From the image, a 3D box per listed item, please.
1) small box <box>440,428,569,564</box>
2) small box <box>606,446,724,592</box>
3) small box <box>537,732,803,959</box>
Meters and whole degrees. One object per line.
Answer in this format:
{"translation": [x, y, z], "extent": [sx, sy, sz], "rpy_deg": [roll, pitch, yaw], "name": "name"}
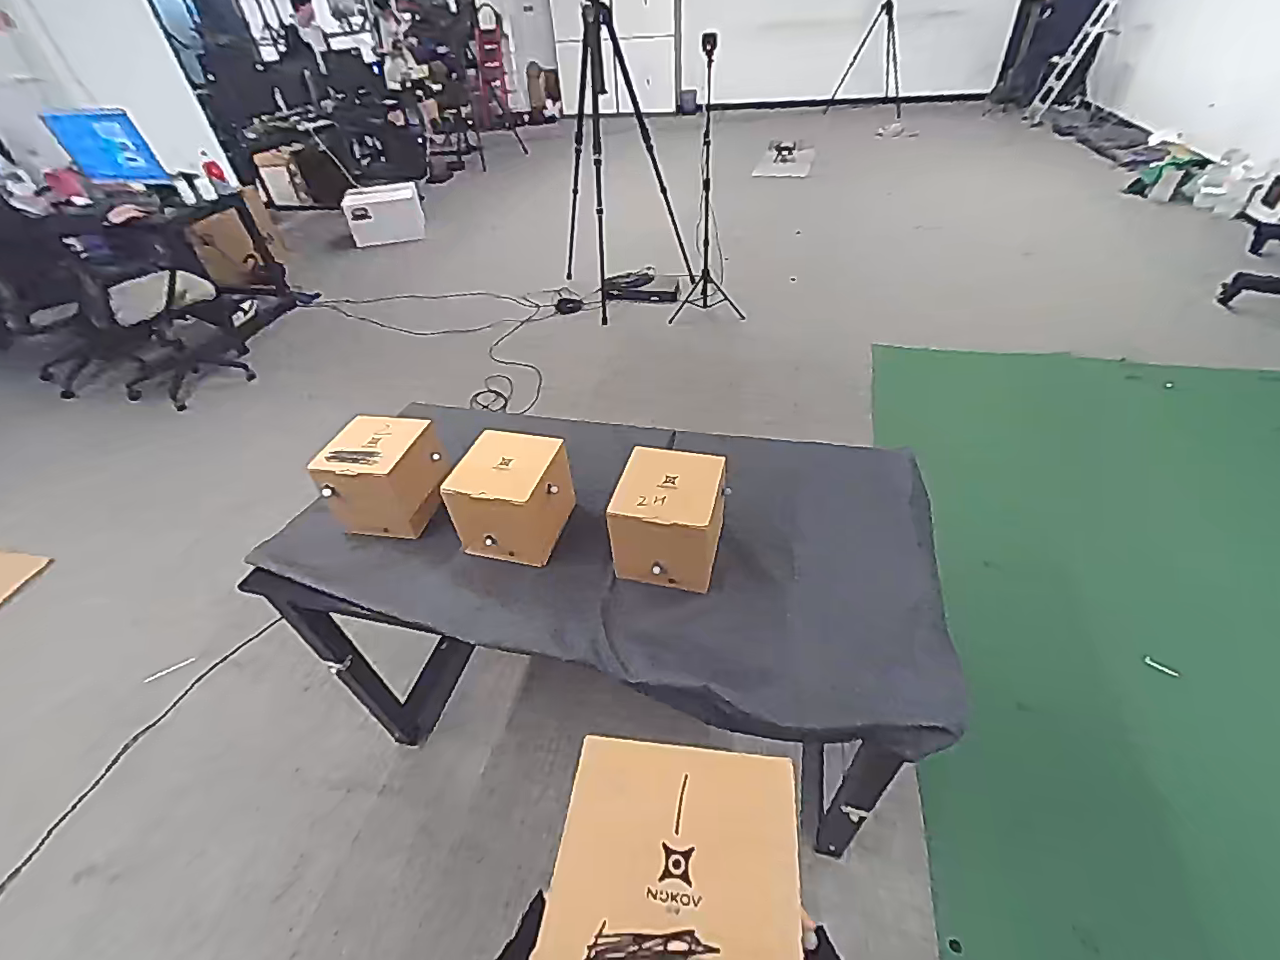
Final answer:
{"translation": [-0.240, 0.028, 1.015], "extent": [0.168, 0.176, 0.179], "rpy_deg": [9, 44, 12], "name": "small box"}
{"translation": [0.049, 0.066, 0.950], "extent": [0.168, 0.176, 0.179], "rpy_deg": [8, 44, 13], "name": "small box"}
{"translation": [0.033, 0.326, 0.416], "extent": [0.168, 0.176, 0.179], "rpy_deg": [3, 42, 11], "name": "small box"}
